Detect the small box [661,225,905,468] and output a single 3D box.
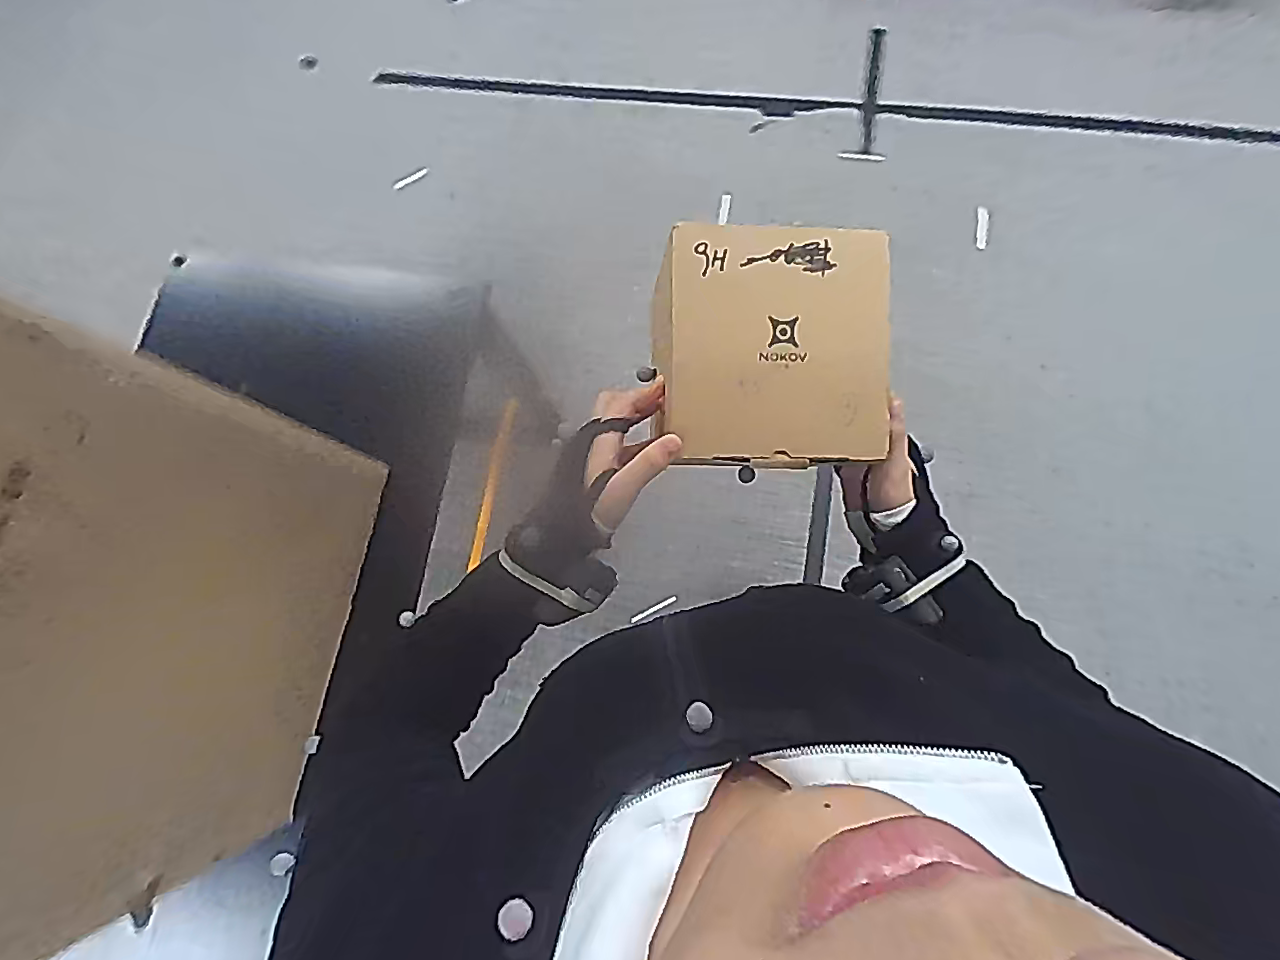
[{"bbox_3d":[0.109,-0.101,0.479,0.168,0.176,0.179,1,92,-3],"label":"small box"}]
